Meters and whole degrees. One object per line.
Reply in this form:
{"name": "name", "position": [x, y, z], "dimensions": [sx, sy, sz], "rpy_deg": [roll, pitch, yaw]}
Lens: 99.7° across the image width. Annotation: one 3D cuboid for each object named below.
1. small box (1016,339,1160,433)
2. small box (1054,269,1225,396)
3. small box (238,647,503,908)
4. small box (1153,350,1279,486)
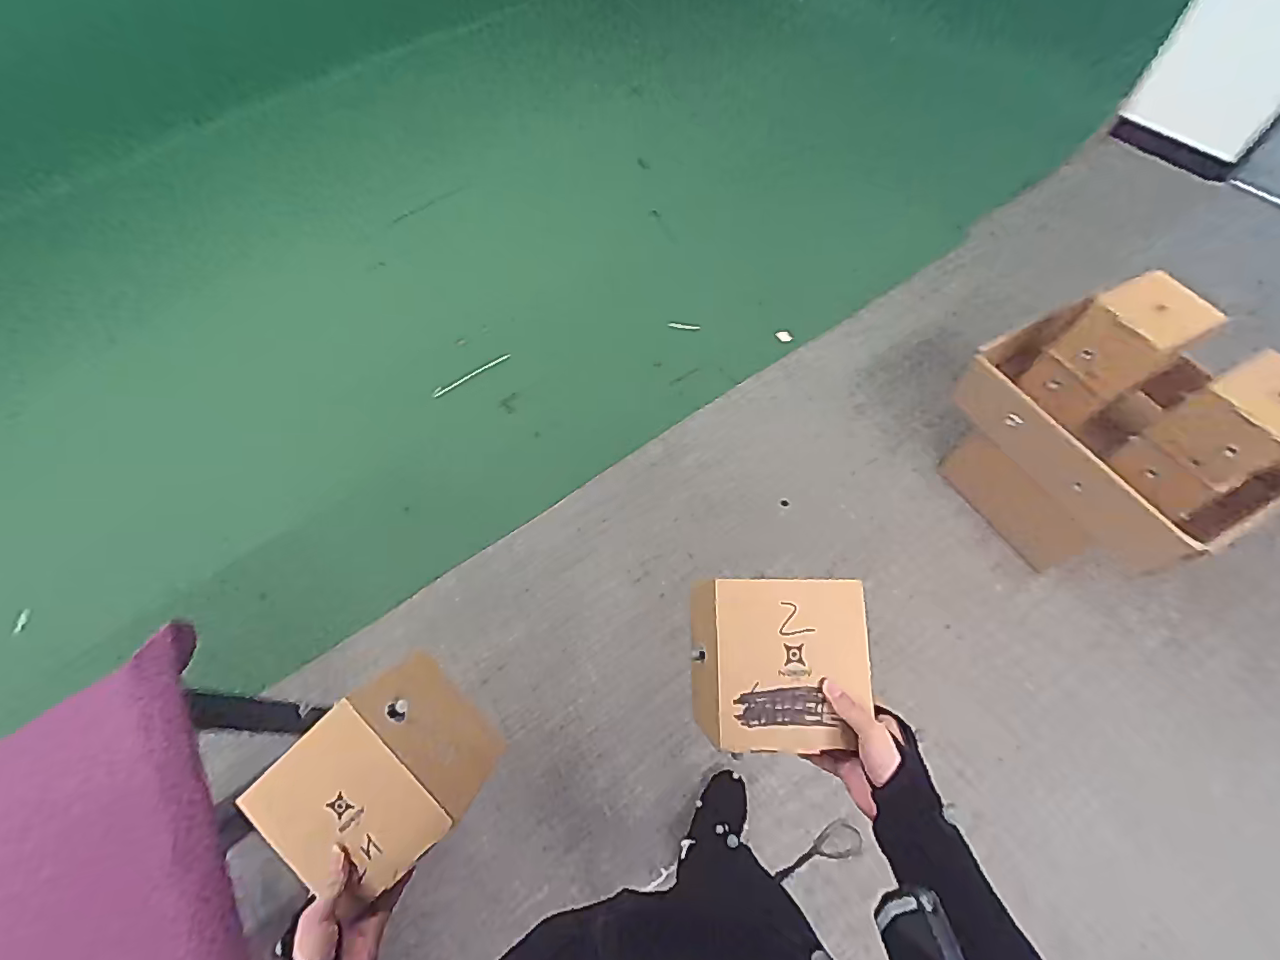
{"name": "small box", "position": [1.081, -0.247, 1.326], "dimensions": [0.168, 0.176, 0.179], "rpy_deg": [-25, 64, -9]}
{"name": "small box", "position": [1.069, -0.315, 1.177], "dimensions": [0.179, 0.176, 0.168], "rpy_deg": [-25, 65, -8]}
{"name": "small box", "position": [-0.292, 0.318, 0.626], "dimensions": [0.168, 0.176, 0.179], "rpy_deg": [-42, 88, 4]}
{"name": "small box", "position": [1.181, -0.115, 1.062], "dimensions": [0.179, 0.176, 0.168], "rpy_deg": [-26, 64, -10]}
